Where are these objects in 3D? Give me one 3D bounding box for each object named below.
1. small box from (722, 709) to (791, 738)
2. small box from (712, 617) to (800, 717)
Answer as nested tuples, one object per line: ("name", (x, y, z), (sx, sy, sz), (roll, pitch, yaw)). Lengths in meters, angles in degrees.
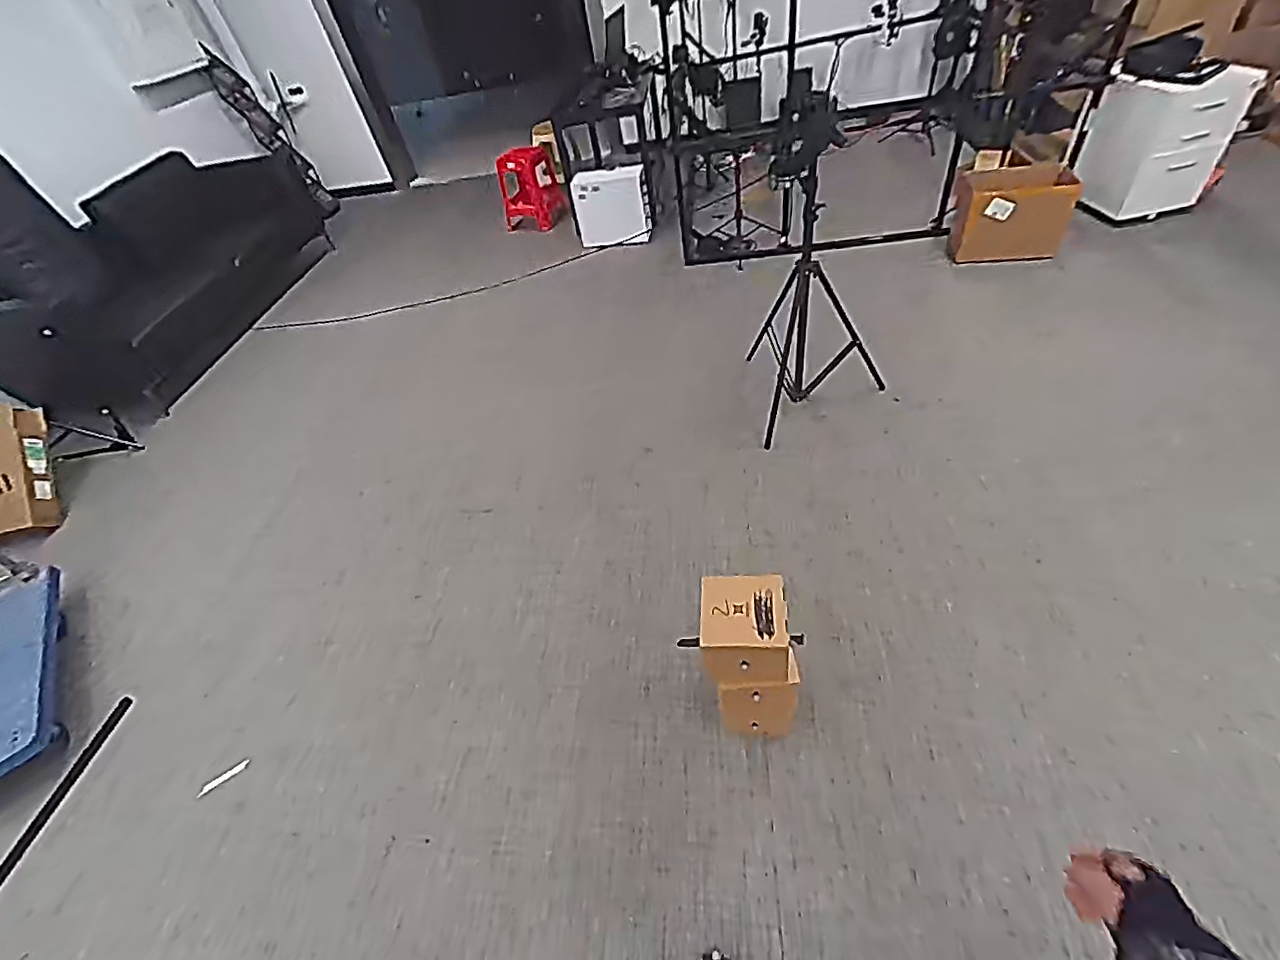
("small box", (0.301, 0.549, 1.399), (0.168, 0.176, 0.179), (-1, 46, 11))
("small box", (0.269, 0.445, 1.278), (0.179, 0.176, 0.168), (-8, 46, 6))
